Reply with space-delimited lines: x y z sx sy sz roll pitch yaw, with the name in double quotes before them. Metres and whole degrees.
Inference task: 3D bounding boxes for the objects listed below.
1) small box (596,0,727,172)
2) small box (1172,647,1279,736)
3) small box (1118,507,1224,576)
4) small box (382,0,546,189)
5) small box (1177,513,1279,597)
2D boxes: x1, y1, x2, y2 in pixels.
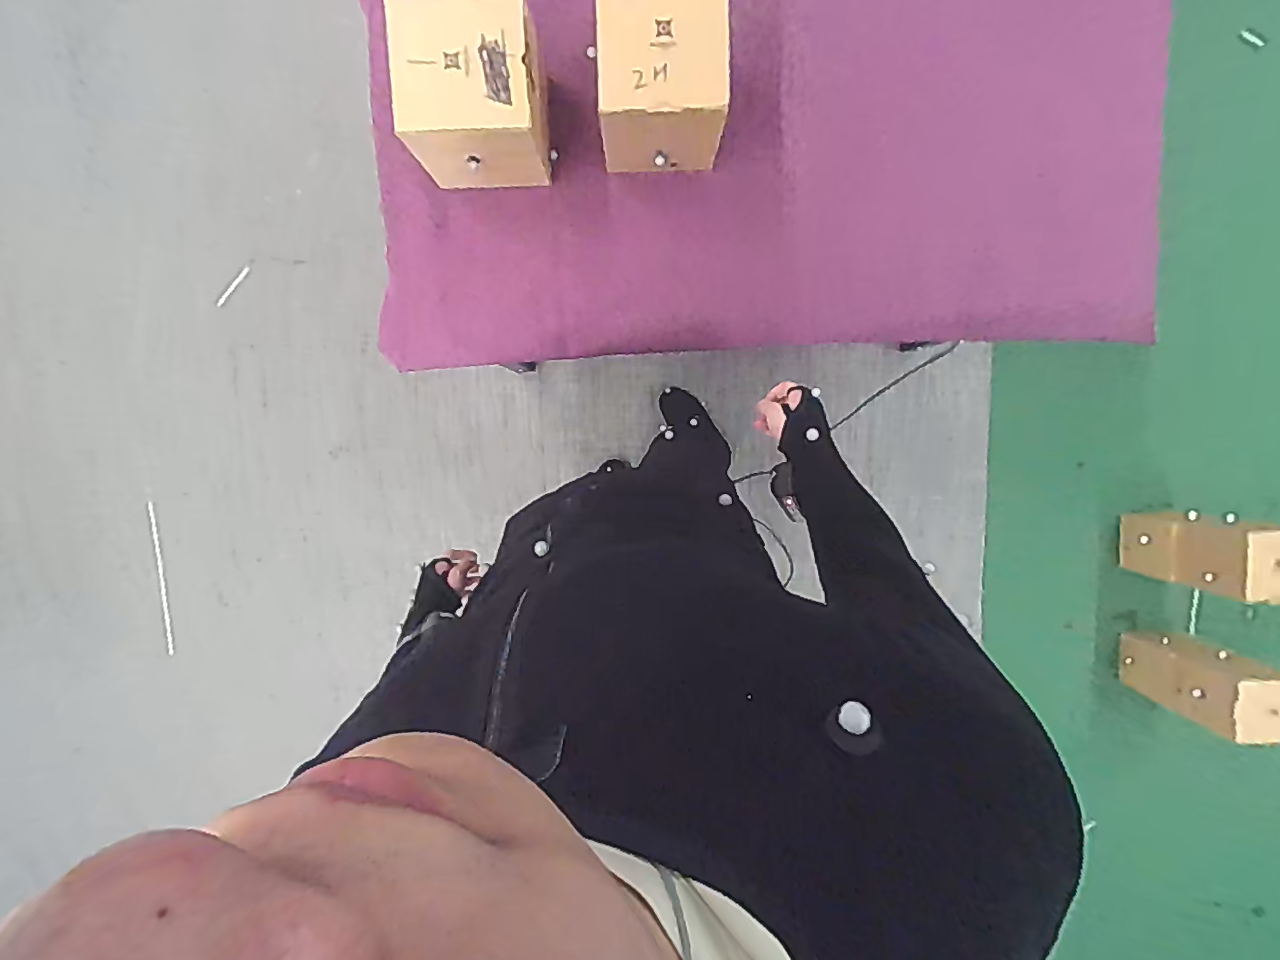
"small box" 0.025 -0.557 0.750 0.168 0.176 0.179 -2 96 0
"small box" 1.580 0.557 1.436 0.179 0.176 0.168 0 97 1
"small box" 1.537 0.174 1.564 0.179 0.176 0.168 -5 95 -1
"small box" -0.229 -0.525 0.751 0.179 0.176 0.168 -2 96 1
"small box" 1.555 0.189 1.403 0.168 0.176 0.179 -4 95 -1
